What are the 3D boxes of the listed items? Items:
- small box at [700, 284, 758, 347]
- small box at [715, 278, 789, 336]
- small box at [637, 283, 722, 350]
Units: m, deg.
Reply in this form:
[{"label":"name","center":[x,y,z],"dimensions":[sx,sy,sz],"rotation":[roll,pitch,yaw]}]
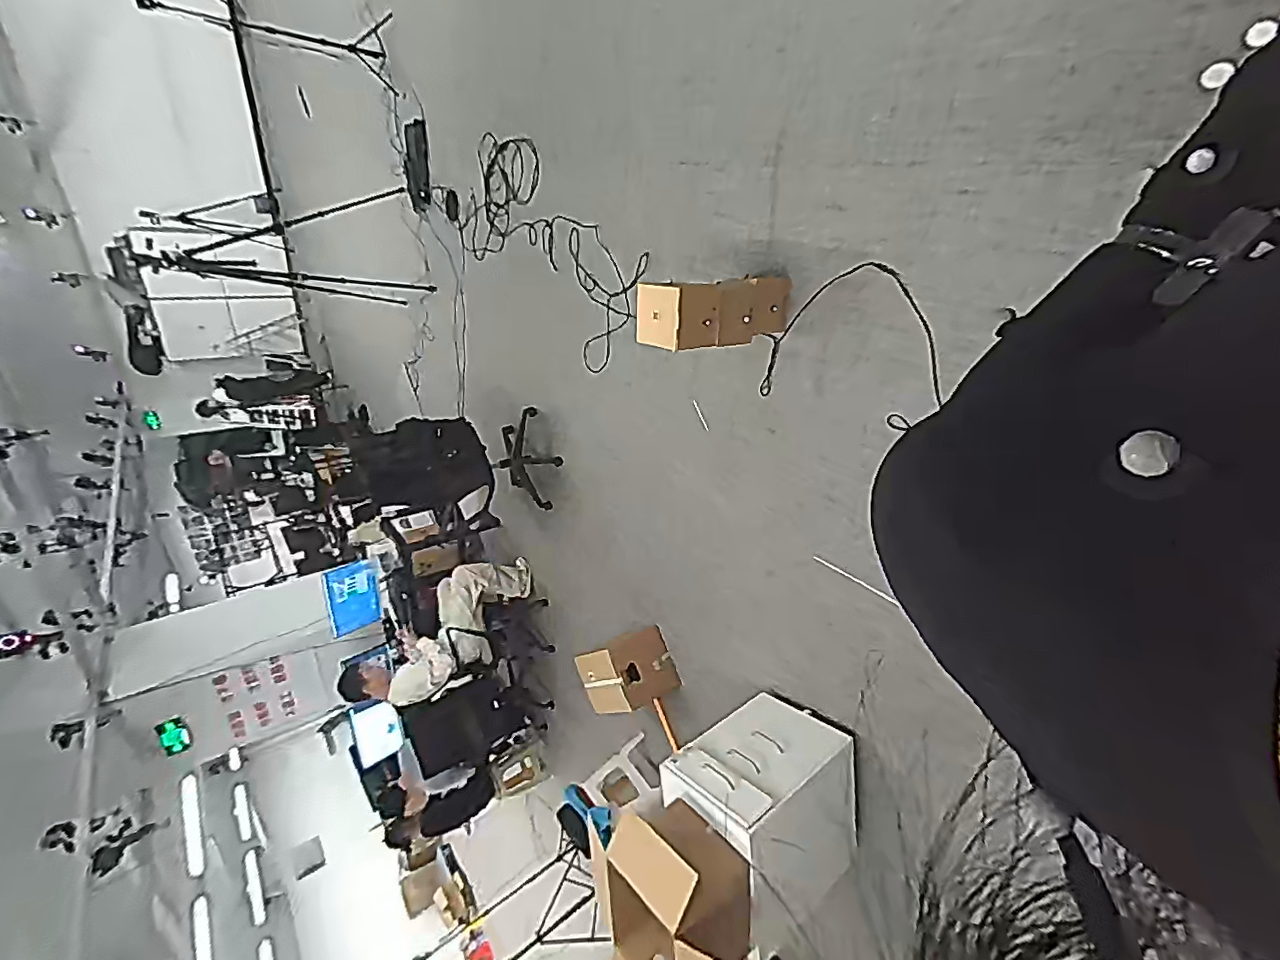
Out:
[{"label":"small box","center":[0.235,-0.507,1.655],"dimensions":[0.179,0.176,0.168],"rotation":[27,124,44]},{"label":"small box","center":[0.360,-0.563,1.746],"dimensions":[0.179,0.176,0.168],"rotation":[24,121,47]},{"label":"small box","center":[0.111,-0.474,1.554],"dimensions":[0.179,0.176,0.168],"rotation":[26,123,45]}]
